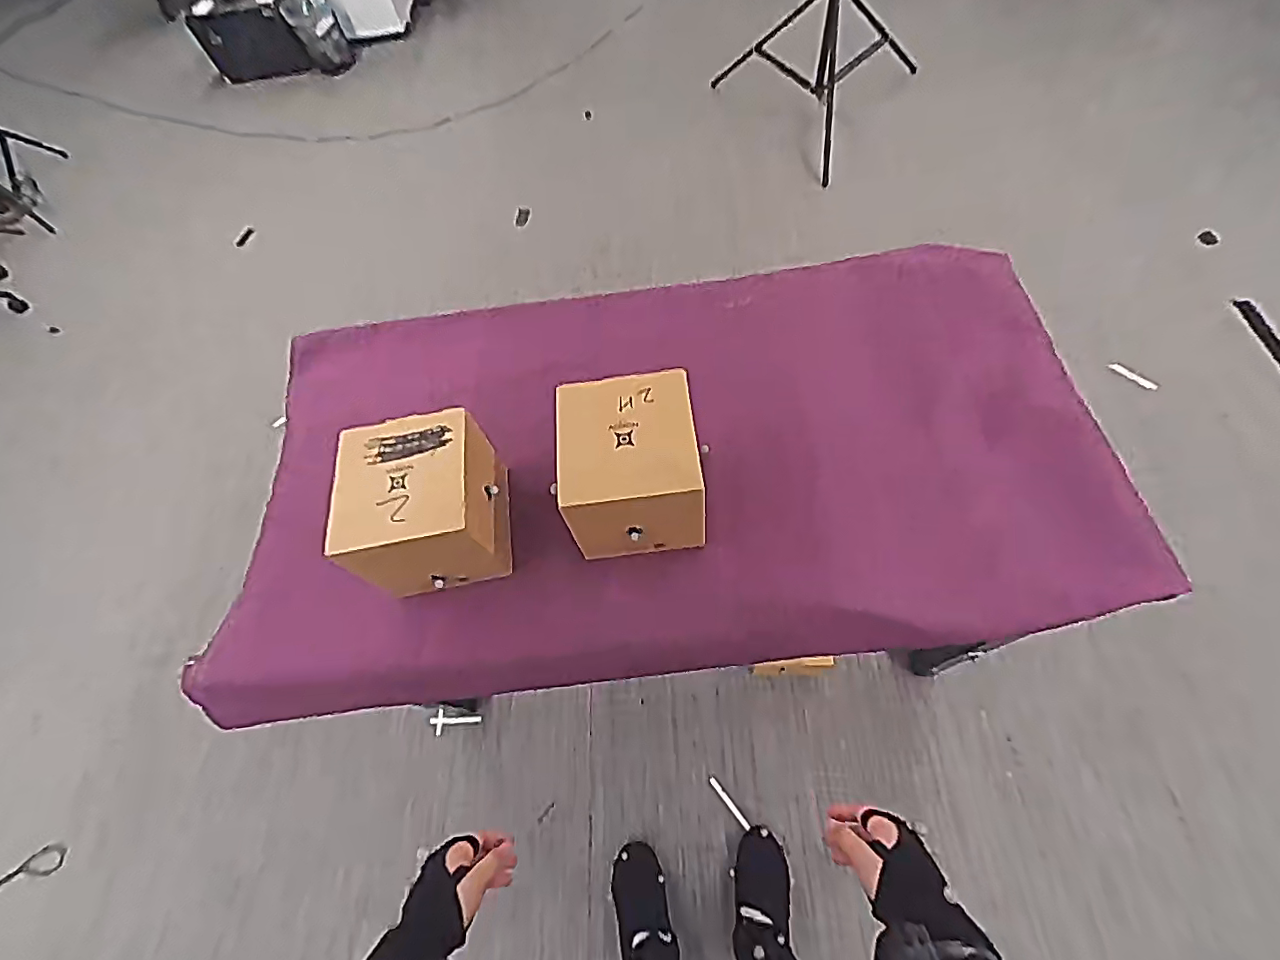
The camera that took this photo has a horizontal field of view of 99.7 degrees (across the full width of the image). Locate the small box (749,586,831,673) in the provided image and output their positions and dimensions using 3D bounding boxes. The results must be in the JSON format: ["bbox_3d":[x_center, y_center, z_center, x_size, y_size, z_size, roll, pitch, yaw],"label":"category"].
[{"bbox_3d":[0.352,0.364,1.299,0.168,0.176,0.179,-2,61,6],"label":"small box"}]

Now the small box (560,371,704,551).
[{"bbox_3d":[-0.006,-0.015,0.711,0.168,0.176,0.179,-7,60,2],"label":"small box"}]
